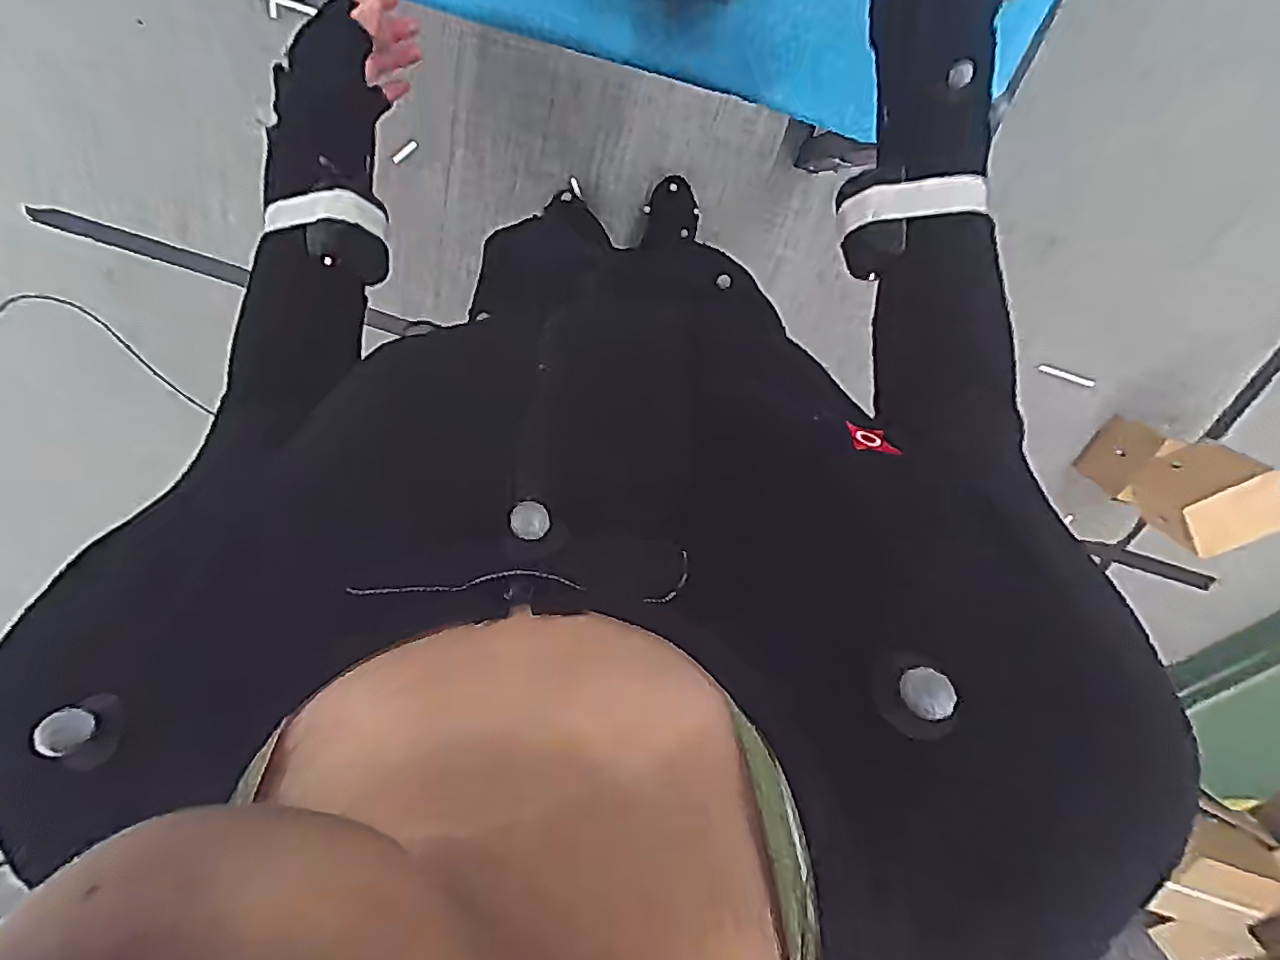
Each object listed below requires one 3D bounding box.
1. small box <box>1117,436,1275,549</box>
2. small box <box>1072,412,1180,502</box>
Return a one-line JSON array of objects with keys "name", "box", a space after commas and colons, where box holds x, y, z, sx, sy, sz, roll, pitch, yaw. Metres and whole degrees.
[{"name": "small box", "box": [1.277, 0.034, 1.251, 0.179, 0.176, 0.168, -32, 112, 18]}, {"name": "small box", "box": [1.275, -0.050, 1.396, 0.168, 0.176, 0.179, 18, 117, -7]}]
